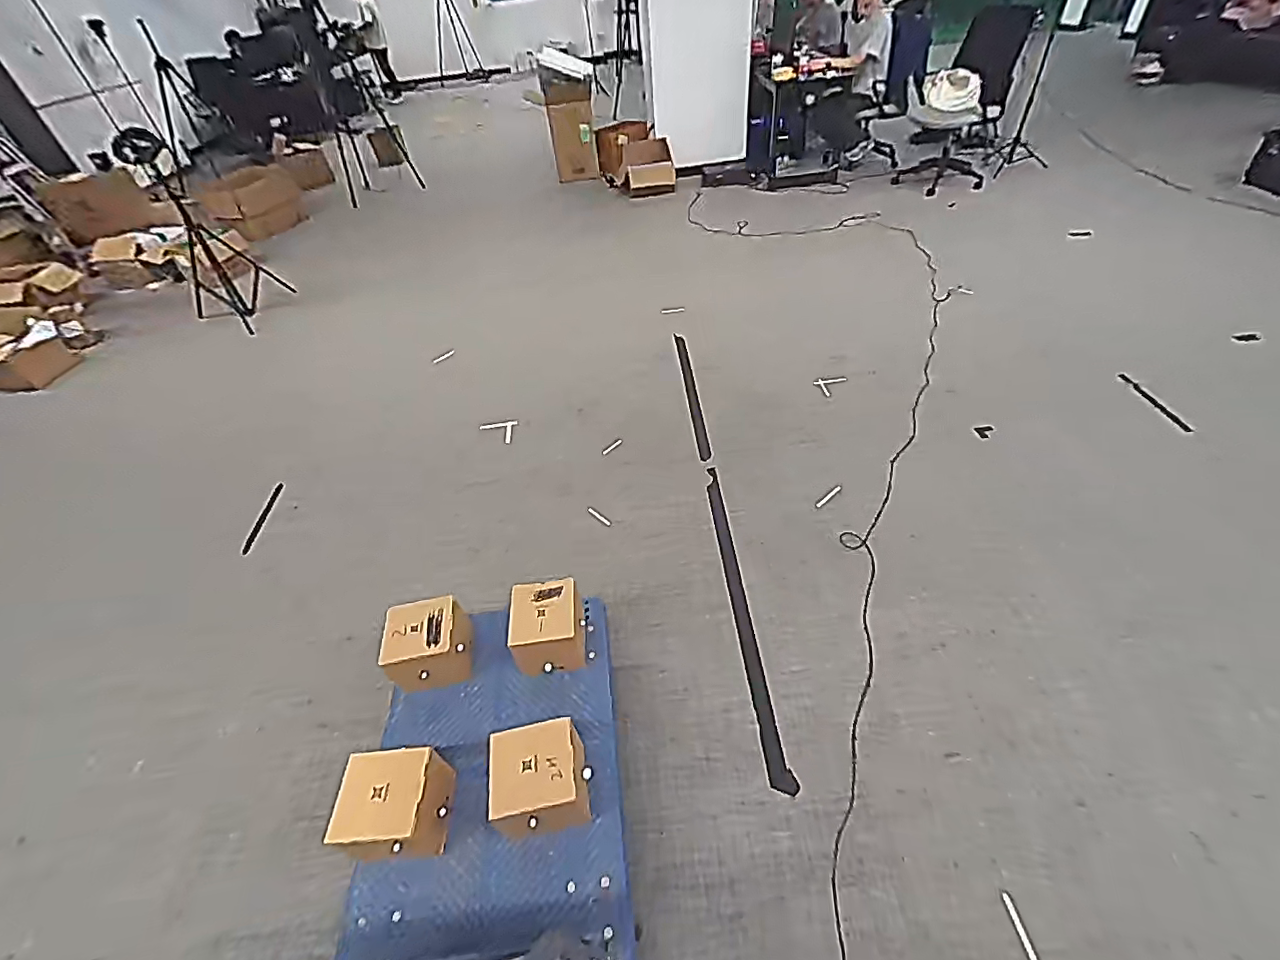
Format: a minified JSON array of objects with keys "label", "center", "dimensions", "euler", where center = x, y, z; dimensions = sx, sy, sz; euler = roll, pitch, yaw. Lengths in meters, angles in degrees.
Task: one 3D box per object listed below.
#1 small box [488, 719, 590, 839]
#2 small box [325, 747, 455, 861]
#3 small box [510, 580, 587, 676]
[{"label":"small box","center":[-0.211,0.640,1.153],"dimensions":[0.179,0.176,0.168],"euler":[-11,44,-3]},{"label":"small box","center":[-0.516,0.689,1.146],"dimensions":[0.179,0.176,0.168],"euler":[-5,43,0]},{"label":"small box","center":[-0.233,0.387,1.416],"dimensions":[0.168,0.176,0.179],"euler":[-7,45,1]}]
